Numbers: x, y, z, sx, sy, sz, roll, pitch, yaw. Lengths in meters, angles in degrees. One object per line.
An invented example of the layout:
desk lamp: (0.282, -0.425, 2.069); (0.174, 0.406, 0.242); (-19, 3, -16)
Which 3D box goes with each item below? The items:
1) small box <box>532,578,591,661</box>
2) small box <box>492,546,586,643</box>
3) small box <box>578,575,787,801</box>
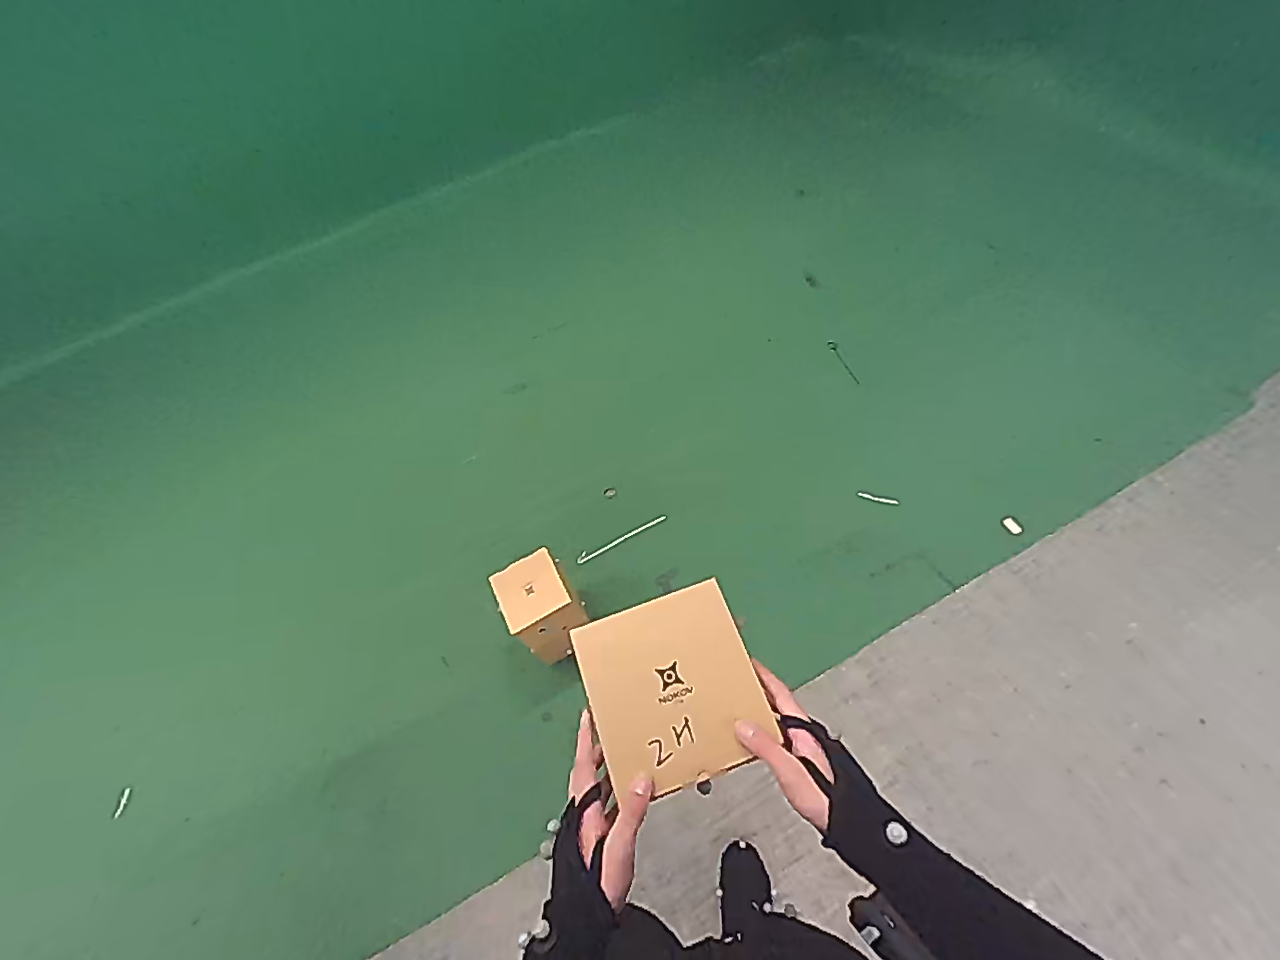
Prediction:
small box: (-0.240, 0.395, 1.564); (0.168, 0.176, 0.179); (-29, 60, -7)
small box: (-0.261, 0.311, 1.428); (0.168, 0.176, 0.179); (-29, 58, -7)
small box: (0.041, 0.233, 0.602); (0.168, 0.176, 0.179); (-18, 63, -4)
